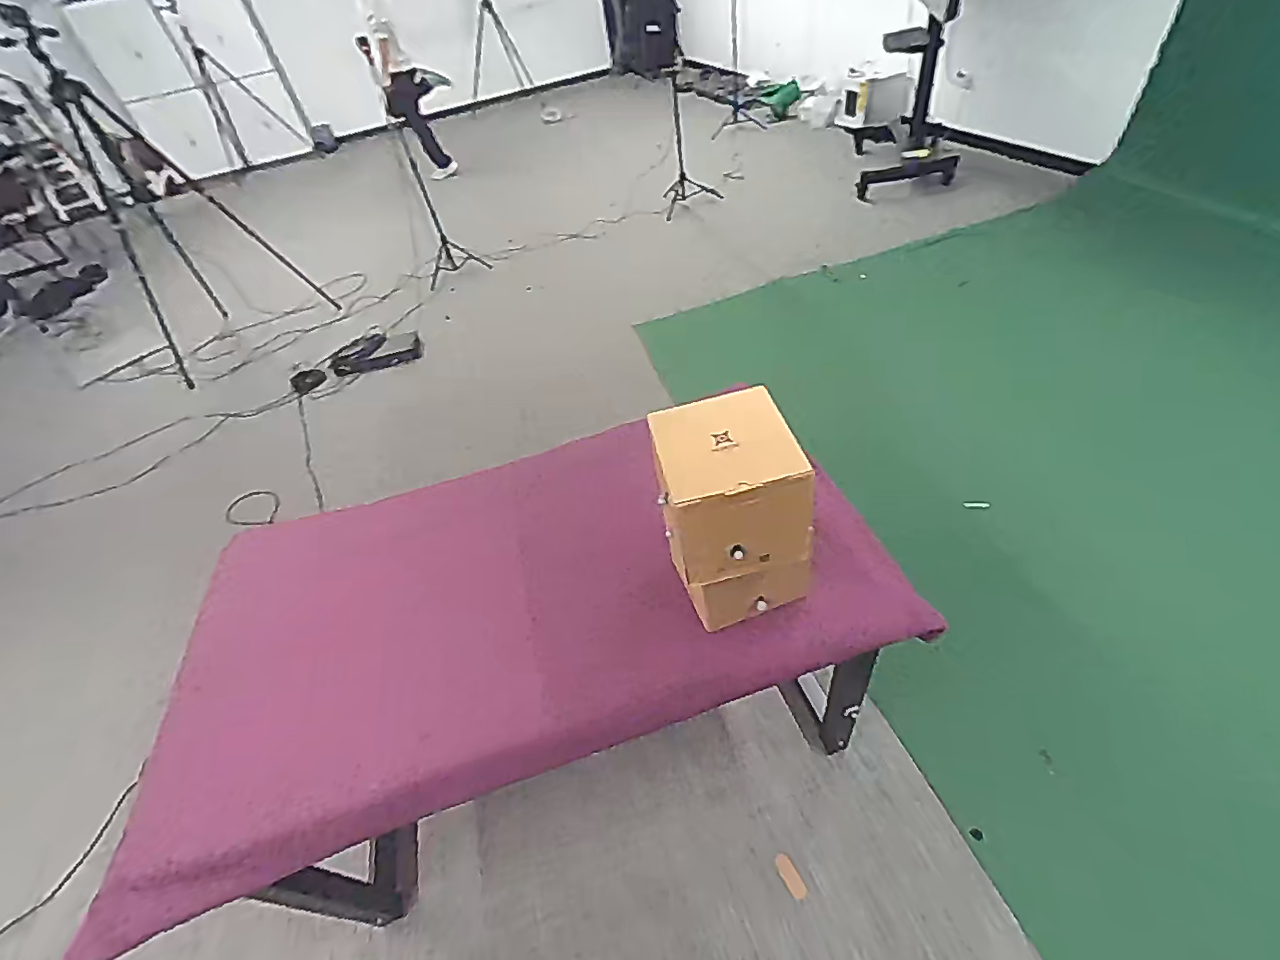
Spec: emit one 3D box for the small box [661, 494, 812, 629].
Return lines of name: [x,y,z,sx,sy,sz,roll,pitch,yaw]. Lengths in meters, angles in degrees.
small box: [0.148,0.102,0.852,0.179,0.176,0.168,-19,43,-6]

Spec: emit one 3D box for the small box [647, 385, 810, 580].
small box: [0.113,0.004,0.724,0.168,0.176,0.179,-14,44,0]
